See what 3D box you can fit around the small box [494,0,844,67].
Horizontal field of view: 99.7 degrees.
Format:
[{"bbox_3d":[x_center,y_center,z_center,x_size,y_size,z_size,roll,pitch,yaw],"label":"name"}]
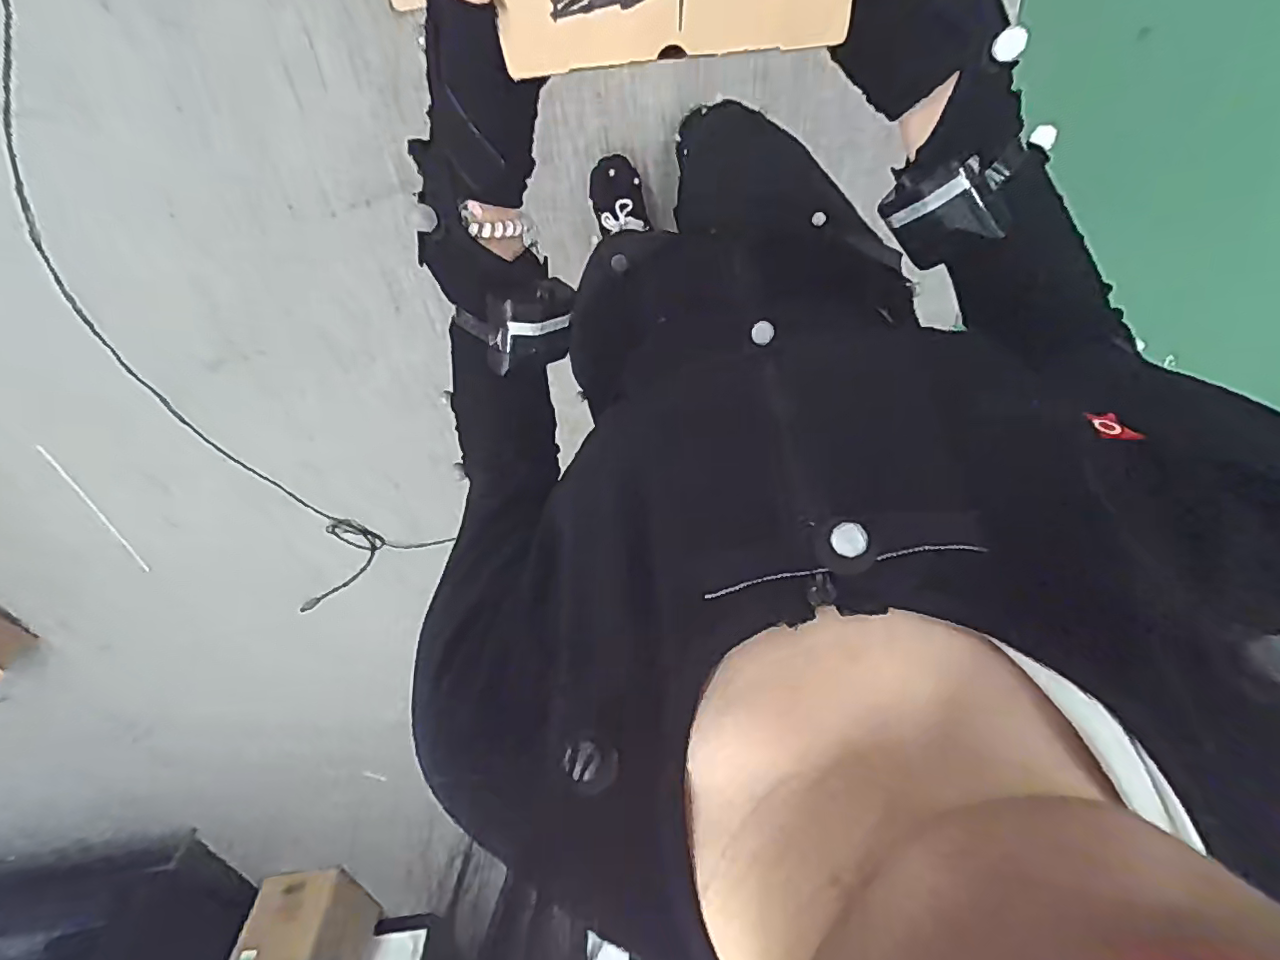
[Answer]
[{"bbox_3d":[0.010,-0.326,0.246,0.168,0.176,0.179,-2,142,5],"label":"small box"}]
